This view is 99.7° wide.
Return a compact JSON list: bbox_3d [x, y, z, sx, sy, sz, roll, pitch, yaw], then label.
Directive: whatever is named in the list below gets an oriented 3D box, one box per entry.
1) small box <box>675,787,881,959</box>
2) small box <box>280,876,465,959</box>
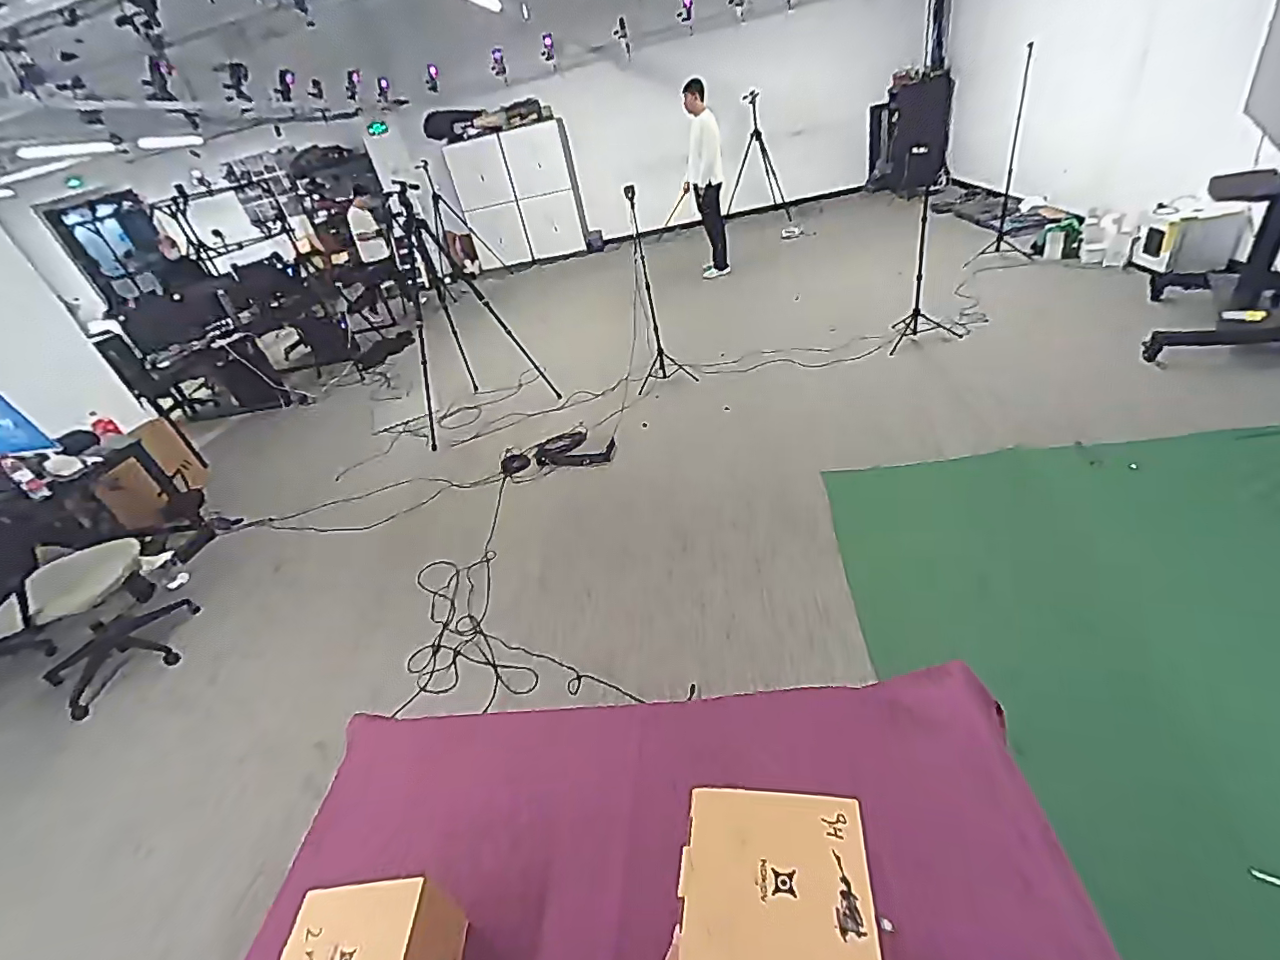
[{"bbox_3d":[0.145,0.446,0.556,0.179,0.176,0.168,-4,34,16],"label":"small box"},{"bbox_3d":[-0.357,0.661,0.719,0.179,0.176,0.168,-10,33,5],"label":"small box"}]
